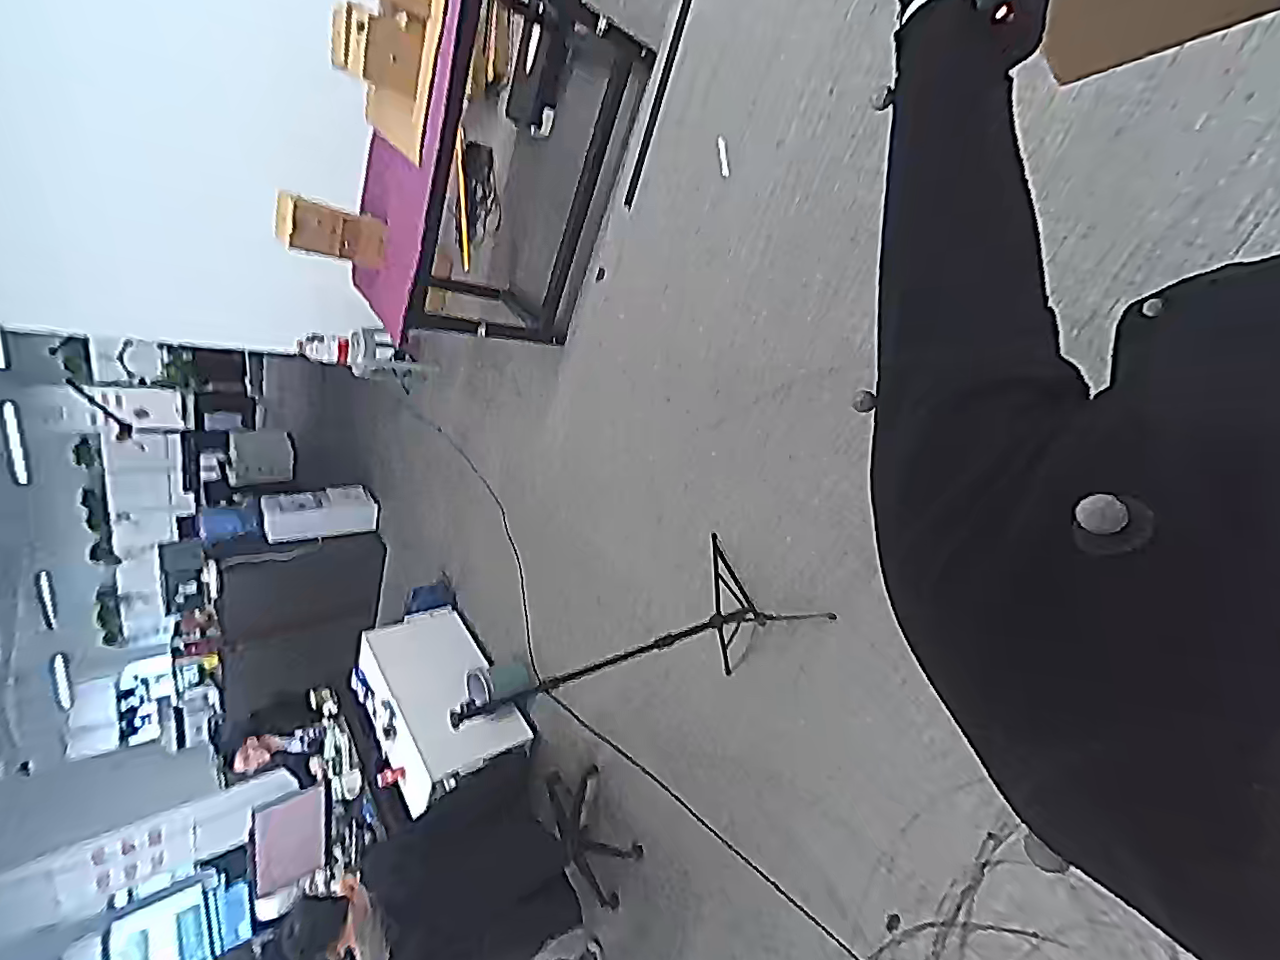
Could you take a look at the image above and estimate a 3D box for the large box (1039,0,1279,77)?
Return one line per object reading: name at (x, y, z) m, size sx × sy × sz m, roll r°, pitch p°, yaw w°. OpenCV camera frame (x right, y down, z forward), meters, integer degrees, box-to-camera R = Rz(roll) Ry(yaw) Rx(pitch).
large box at (0.497, -0.547, 0.331) m, size 0.408 × 0.320 × 0.320 m, roll 5°, pitch 106°, yaw 43°
